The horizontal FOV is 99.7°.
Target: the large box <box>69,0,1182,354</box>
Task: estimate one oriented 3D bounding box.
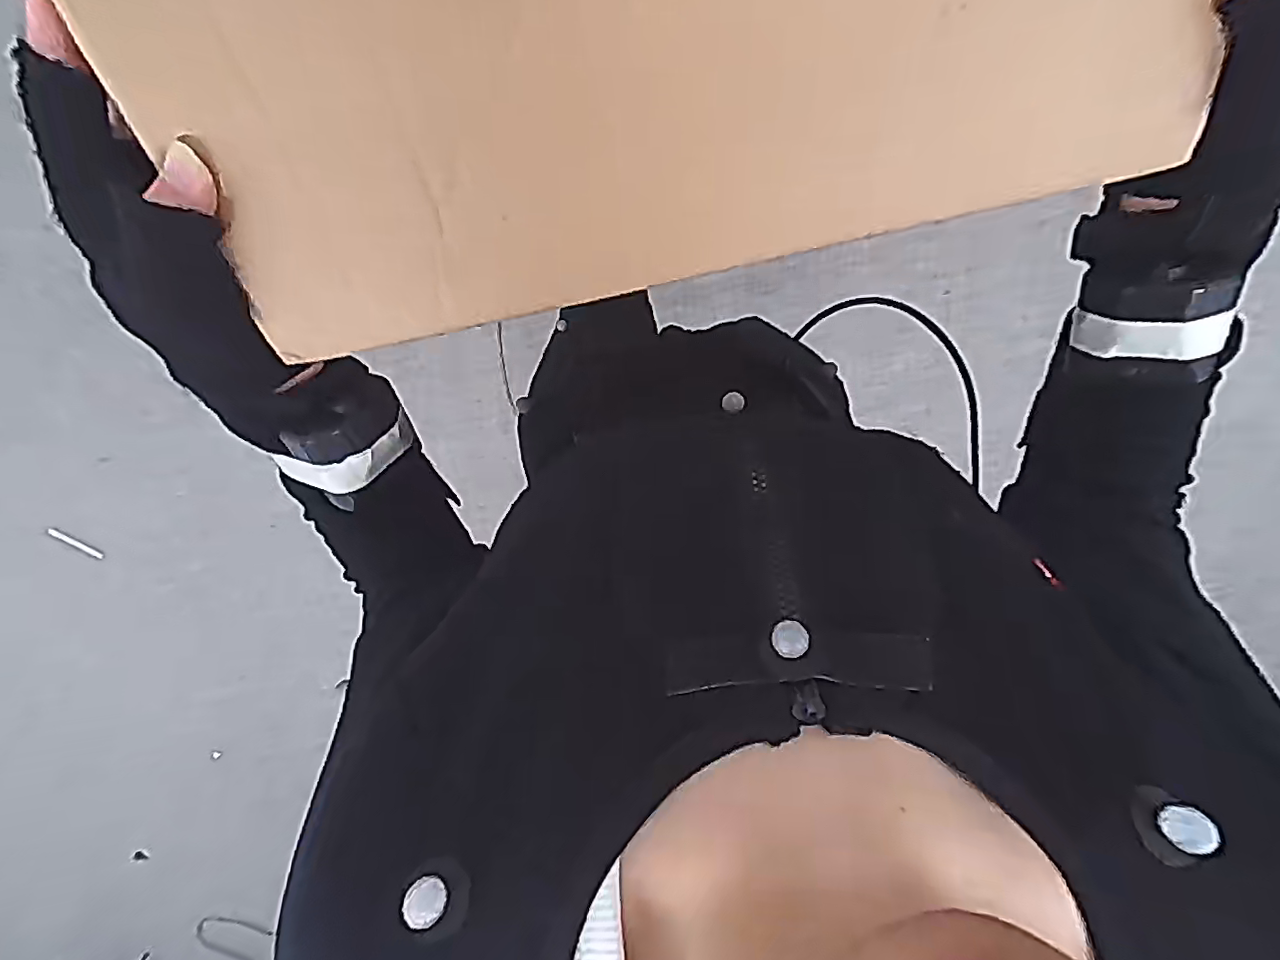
[{"bbox_3d":[-0.014,-0.309,0.281,0.408,0.320,0.320,-12,125,3],"label":"large box"}]
